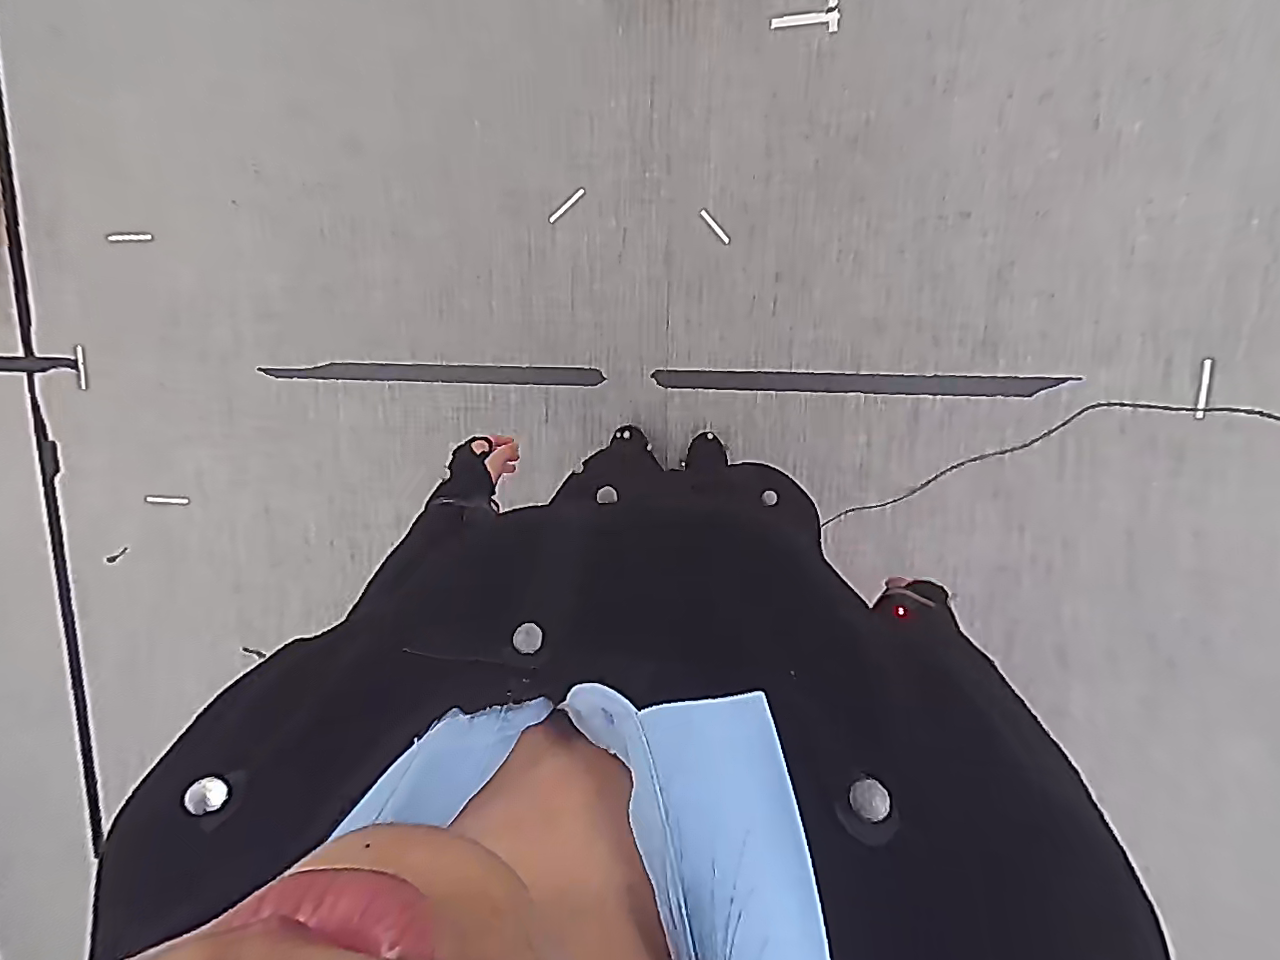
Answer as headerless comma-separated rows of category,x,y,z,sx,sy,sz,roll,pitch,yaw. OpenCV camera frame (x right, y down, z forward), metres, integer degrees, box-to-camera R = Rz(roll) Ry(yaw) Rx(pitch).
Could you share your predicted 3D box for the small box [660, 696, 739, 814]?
small box,0.141,0.640,1.274,0.168,0.176,0.179,4,97,7
